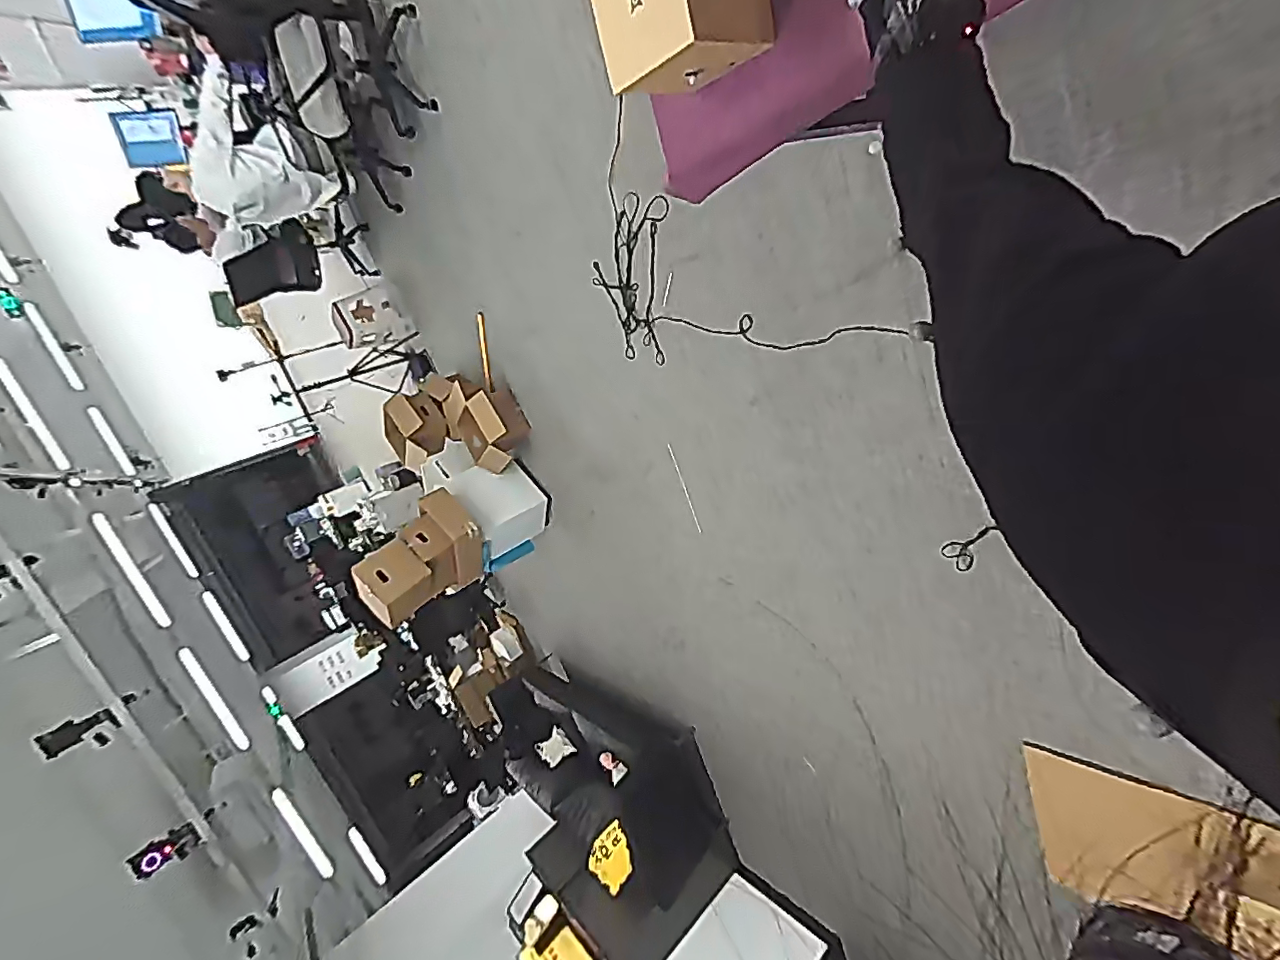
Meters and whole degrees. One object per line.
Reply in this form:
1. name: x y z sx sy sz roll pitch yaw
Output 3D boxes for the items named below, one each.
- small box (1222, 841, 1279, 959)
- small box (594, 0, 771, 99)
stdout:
1. small box: 1.544 1.031 1.307 0.168 0.176 0.179 -3 112 55
2. small box: 0.056 -0.645 0.724 0.168 0.176 0.179 12 124 49
